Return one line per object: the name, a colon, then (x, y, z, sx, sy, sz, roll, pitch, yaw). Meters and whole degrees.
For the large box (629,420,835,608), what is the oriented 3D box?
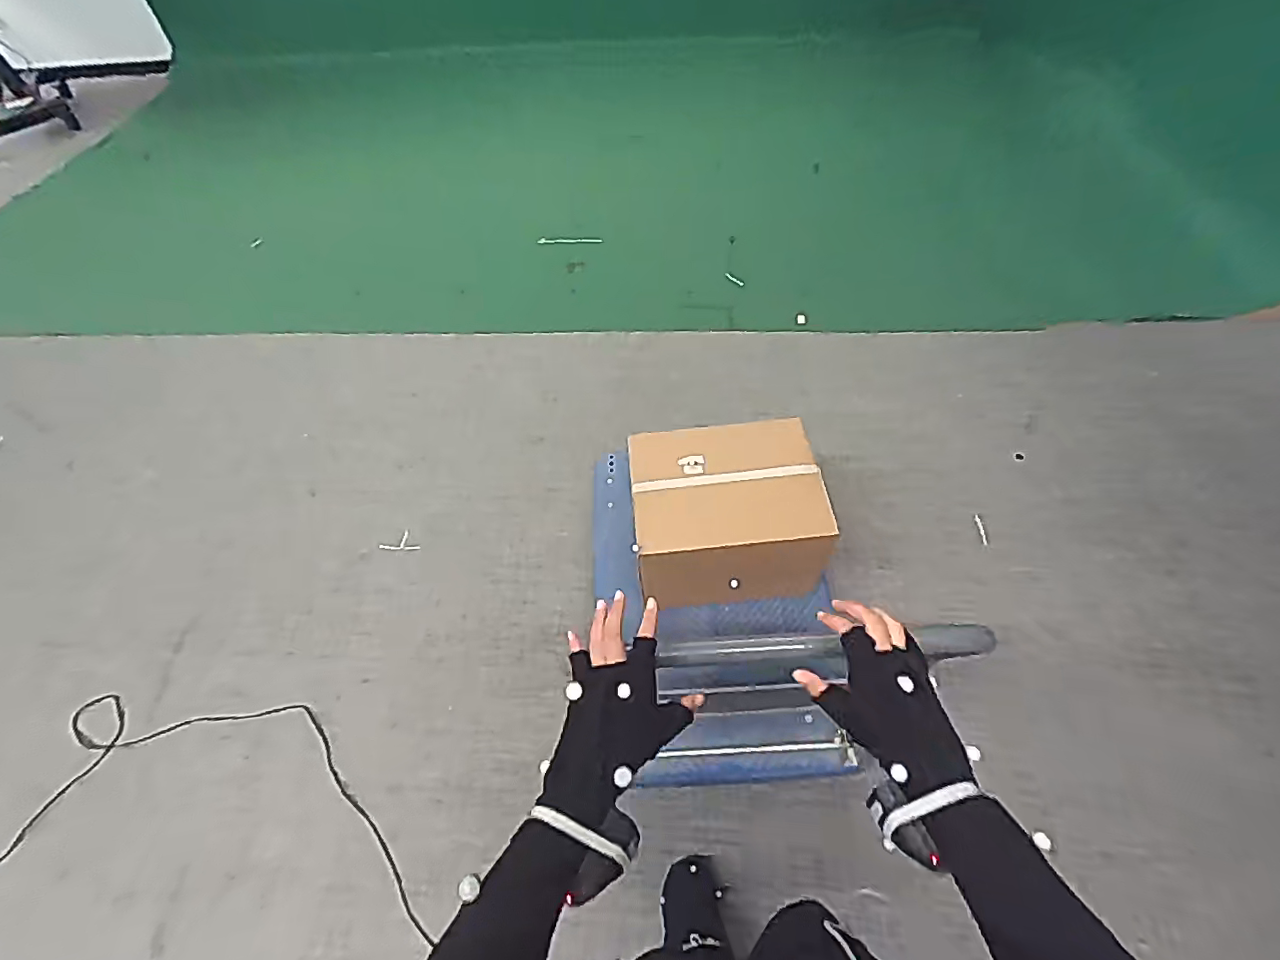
large box: (0.197, 0.090, 1.295, 0.408, 0.320, 0.320, -6, 54, 1)
